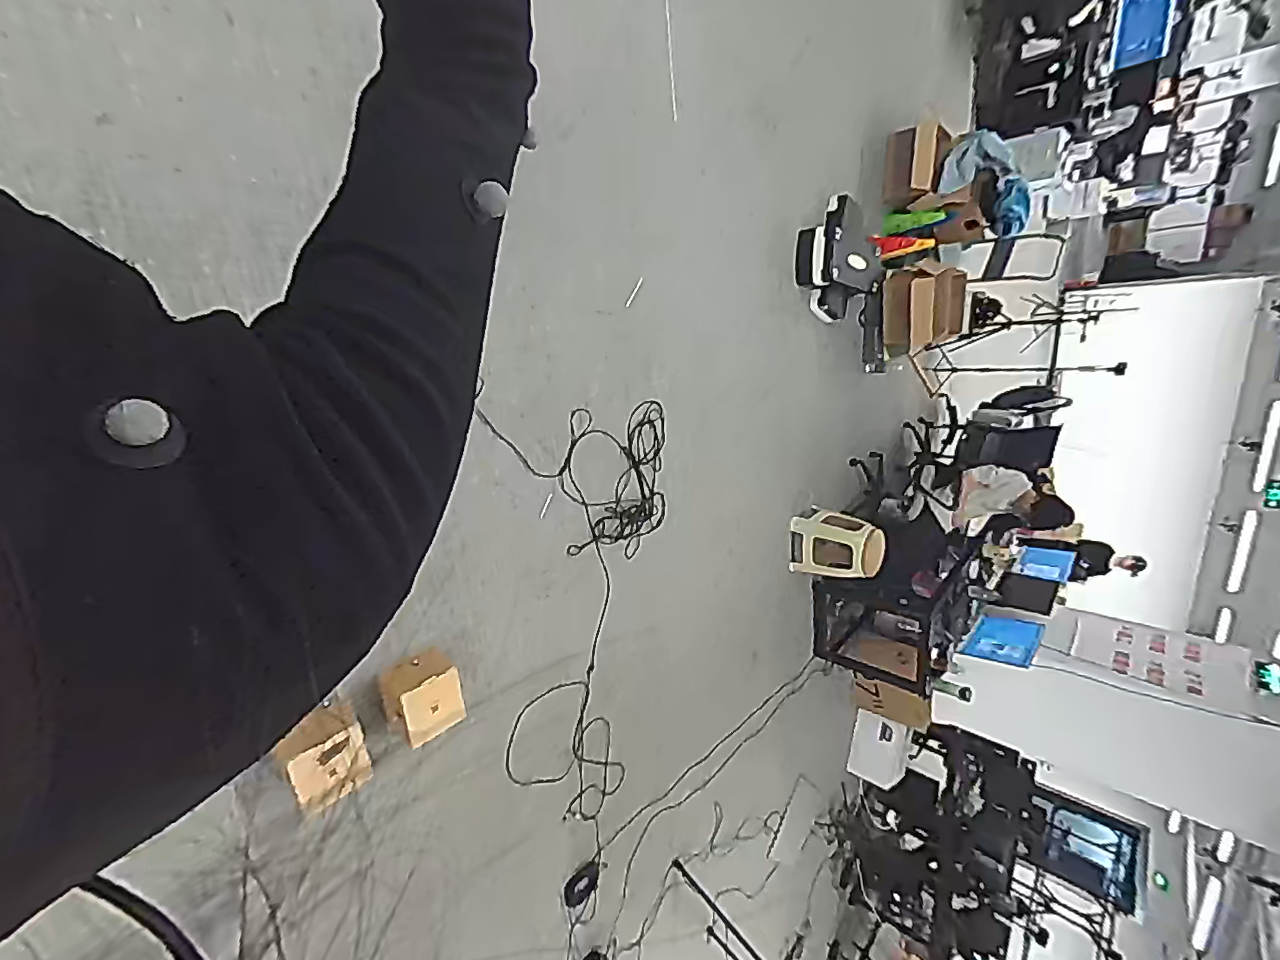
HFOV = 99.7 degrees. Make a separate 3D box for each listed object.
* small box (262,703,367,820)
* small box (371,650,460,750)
[{"bbox_3d":[-0.818,0.690,1.356,0.168,0.176,0.179,-21,113,-43],"label":"small box"},{"bbox_3d":[-0.639,0.616,1.539,0.168,0.176,0.179,-21,112,-44],"label":"small box"}]
